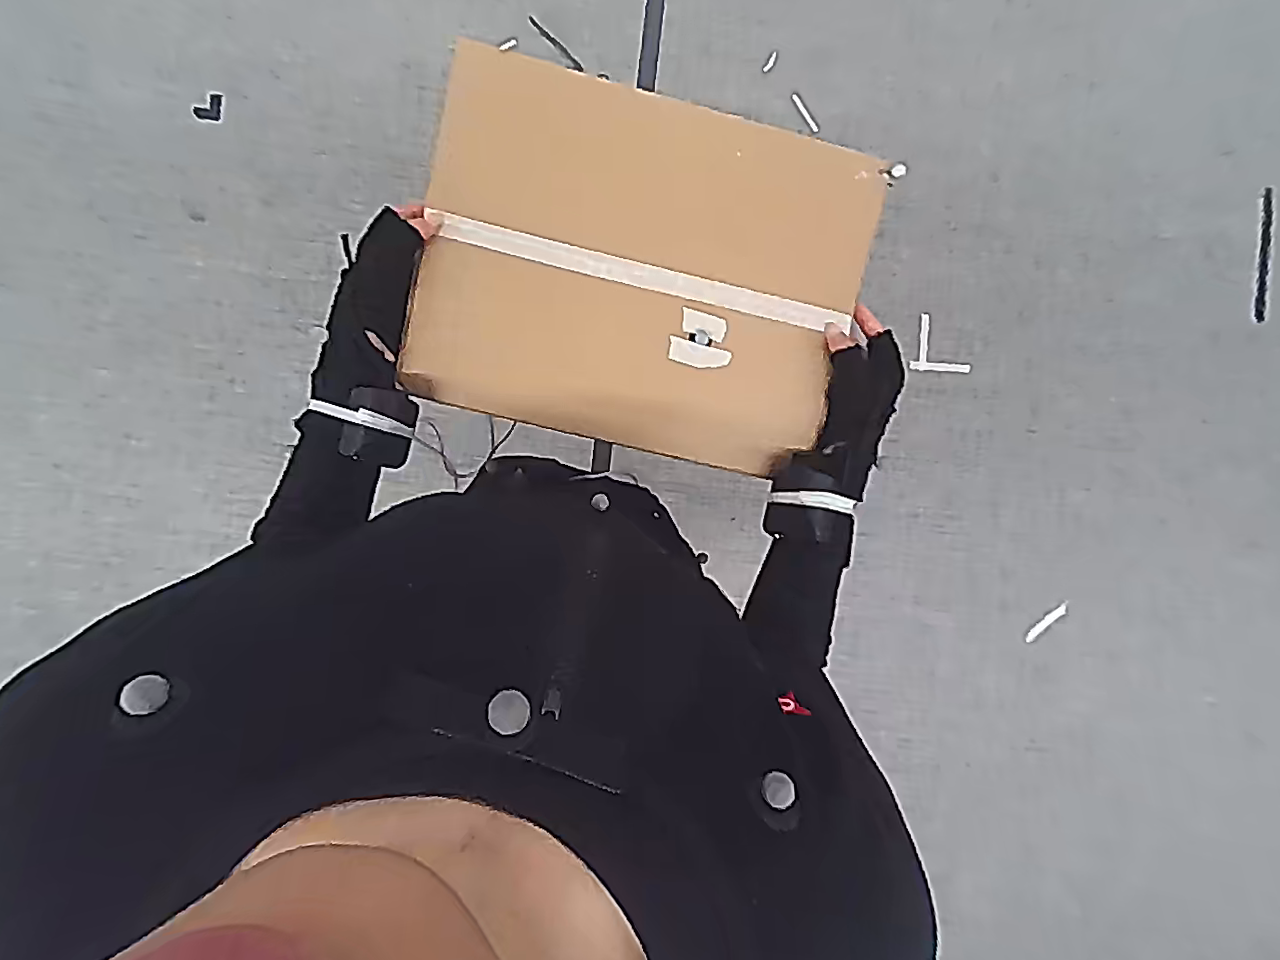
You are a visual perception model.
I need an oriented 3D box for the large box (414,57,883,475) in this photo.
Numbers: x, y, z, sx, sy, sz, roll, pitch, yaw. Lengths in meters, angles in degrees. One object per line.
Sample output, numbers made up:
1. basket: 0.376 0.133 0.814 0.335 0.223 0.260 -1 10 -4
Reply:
1. large box: -0.003 -0.208 0.662 0.408 0.320 0.320 13 96 -5
